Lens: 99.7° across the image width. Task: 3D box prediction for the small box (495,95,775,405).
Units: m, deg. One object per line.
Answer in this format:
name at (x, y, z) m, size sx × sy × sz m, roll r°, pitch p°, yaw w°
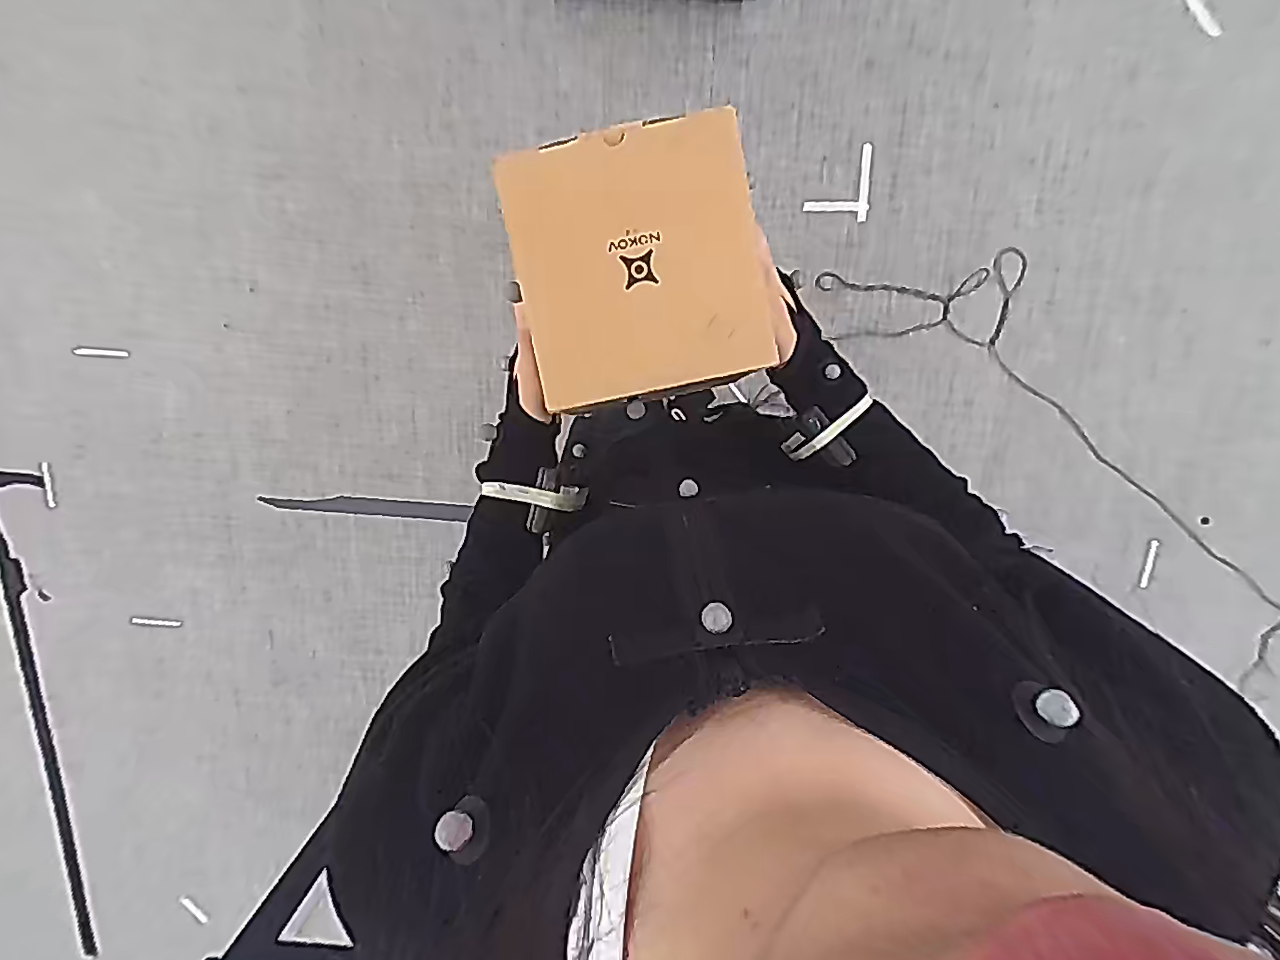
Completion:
small box at (0.000, -0.162, 0.445) m, size 0.168 × 0.176 × 0.179 m, roll -12°, pitch 95°, yaw 2°
